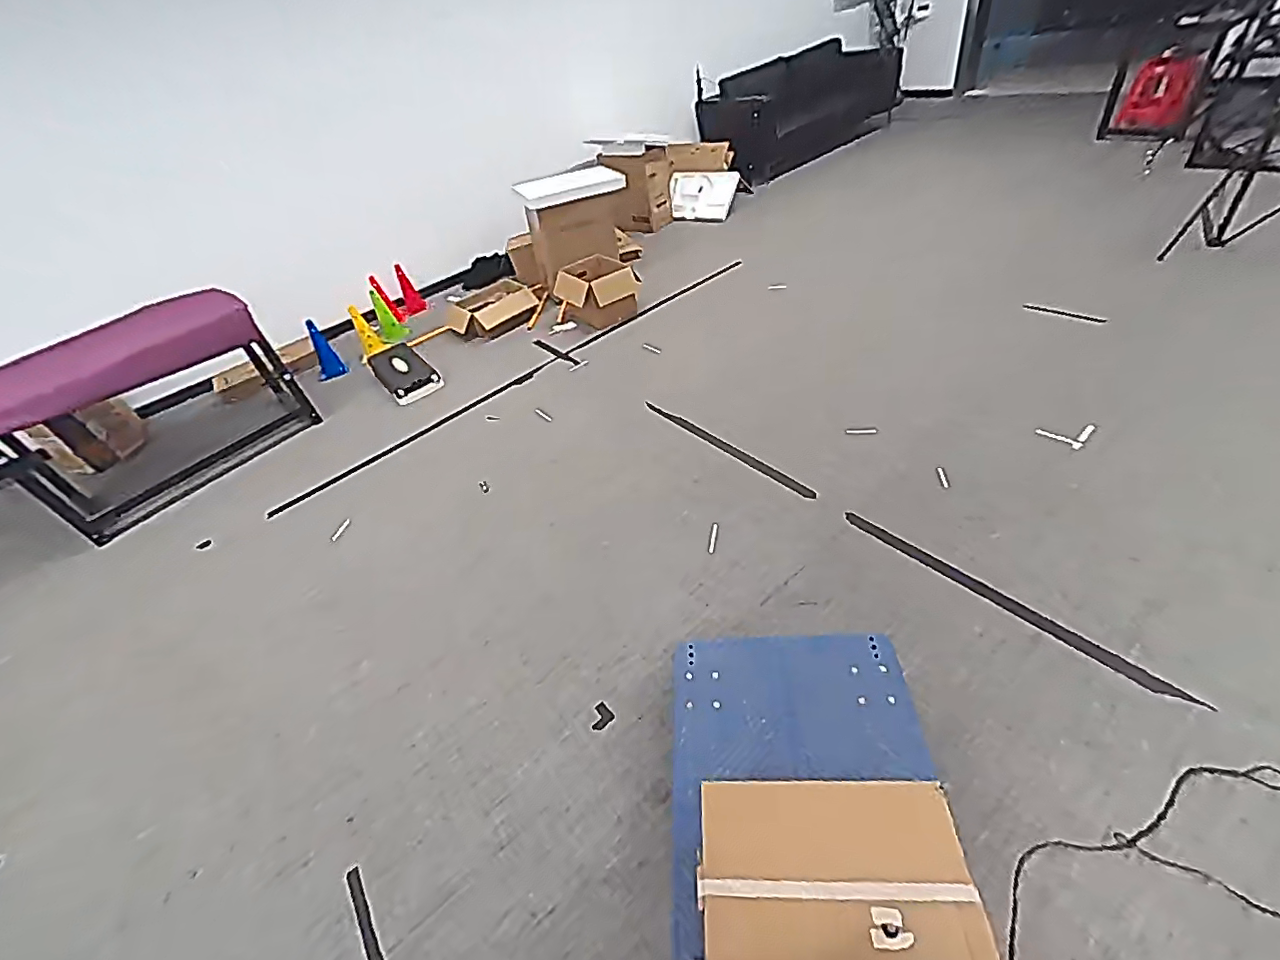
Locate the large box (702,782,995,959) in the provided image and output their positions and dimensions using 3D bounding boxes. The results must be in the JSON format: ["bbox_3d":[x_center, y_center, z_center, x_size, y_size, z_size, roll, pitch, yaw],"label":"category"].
[{"bbox_3d":[0.322,0.743,0.927,0.408,0.320,0.320,-4,42,8],"label":"large box"}]
